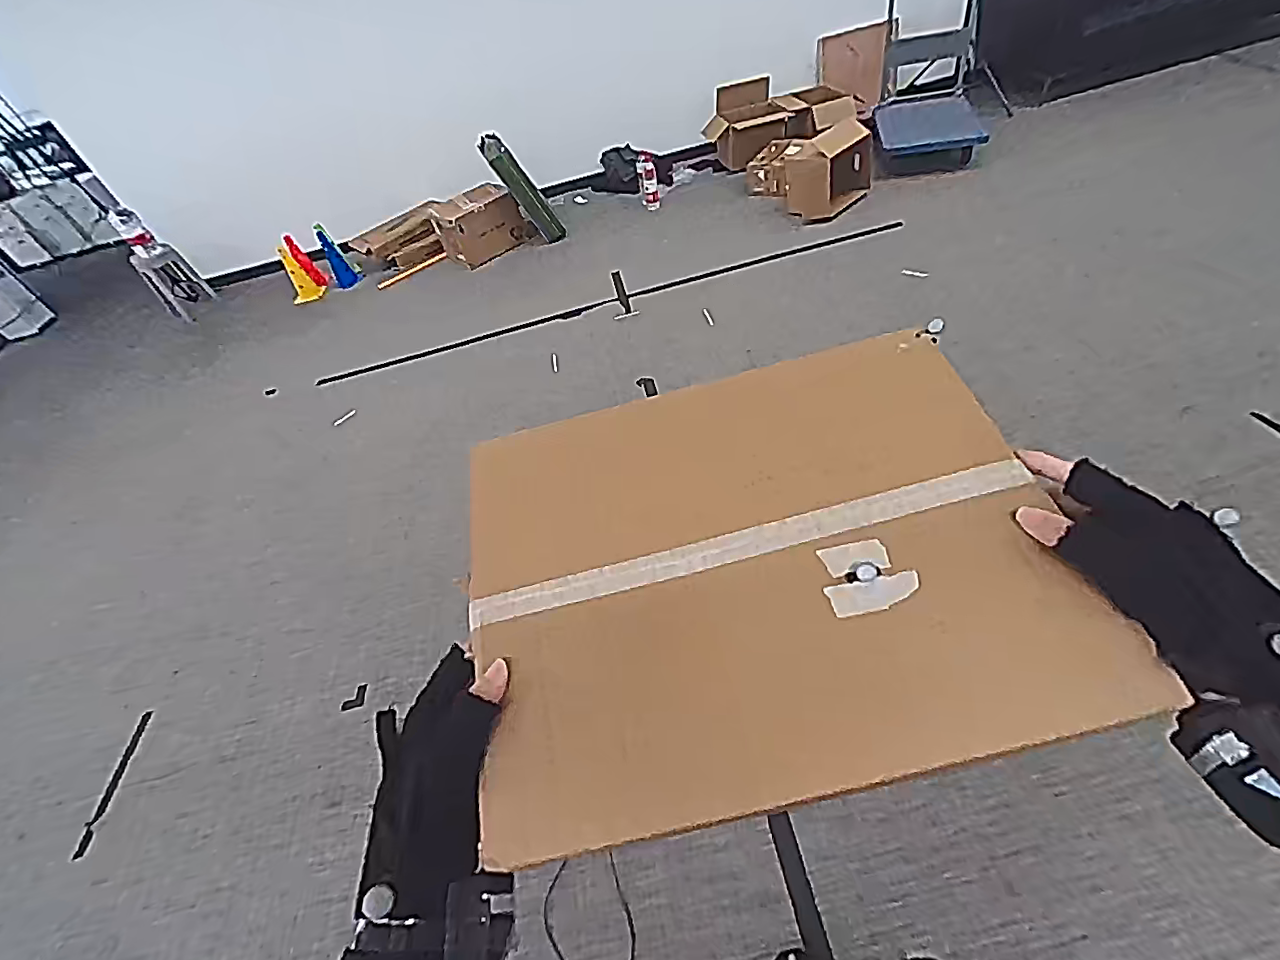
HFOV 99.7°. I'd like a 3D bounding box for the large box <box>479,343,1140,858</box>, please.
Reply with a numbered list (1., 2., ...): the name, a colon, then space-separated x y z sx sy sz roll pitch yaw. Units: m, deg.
1. large box: 0.099 0.130 0.527 0.408 0.320 0.320 -15 58 1
